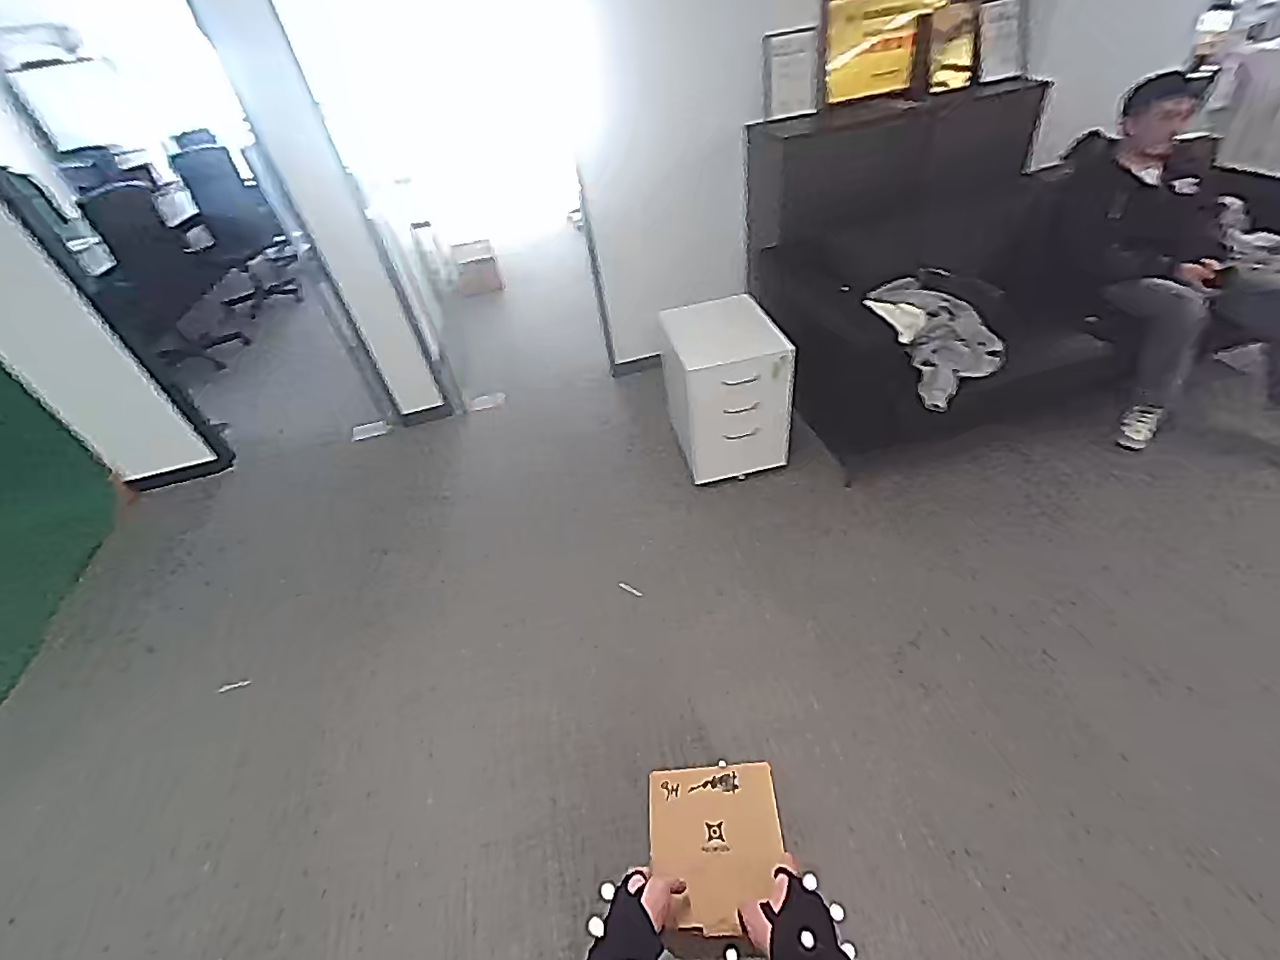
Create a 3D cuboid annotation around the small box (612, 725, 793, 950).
[{"bbox_3d":[0.090,0.485,0.735,0.179,0.176,0.168,-29,40,-15],"label":"small box"}]
